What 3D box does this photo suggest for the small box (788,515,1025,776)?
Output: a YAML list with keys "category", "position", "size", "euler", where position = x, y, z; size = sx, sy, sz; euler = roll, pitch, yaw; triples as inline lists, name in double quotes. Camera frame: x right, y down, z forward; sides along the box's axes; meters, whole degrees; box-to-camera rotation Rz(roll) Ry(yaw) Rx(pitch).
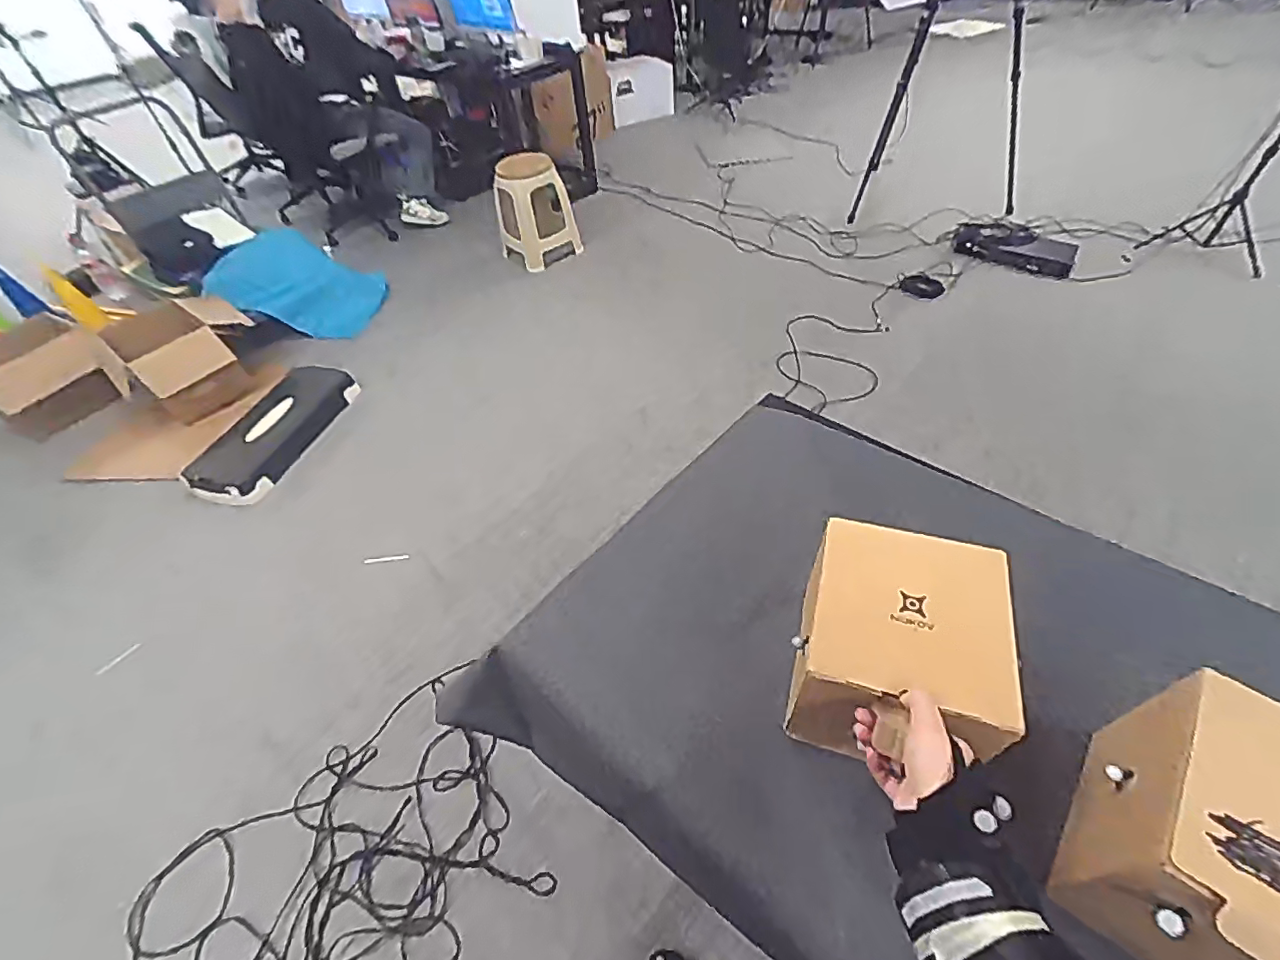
- category: "small box"
  position: [0.252, 0.166, 0.546]
  size: [0.168, 0.176, 0.179]
  euler: [11, 52, 15]
